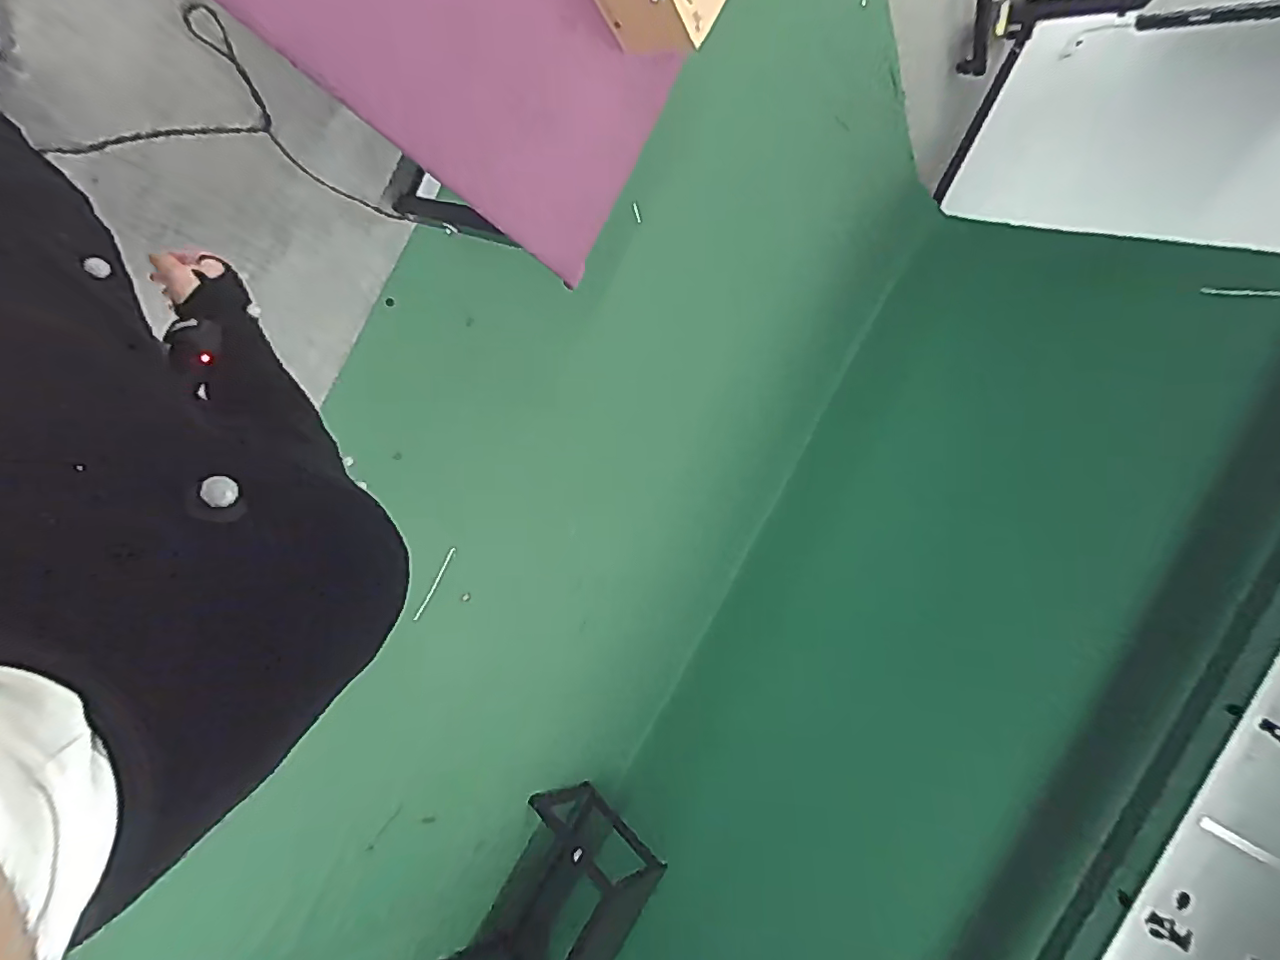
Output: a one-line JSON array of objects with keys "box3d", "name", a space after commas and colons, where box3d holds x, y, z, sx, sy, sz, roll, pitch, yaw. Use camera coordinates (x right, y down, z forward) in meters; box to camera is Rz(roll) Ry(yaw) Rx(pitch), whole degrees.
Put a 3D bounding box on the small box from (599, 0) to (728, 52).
[{"box3d": [0.040, -0.821, 0.848, 0.168, 0.176, 0.179, 28, 91, -53], "name": "small box"}]
